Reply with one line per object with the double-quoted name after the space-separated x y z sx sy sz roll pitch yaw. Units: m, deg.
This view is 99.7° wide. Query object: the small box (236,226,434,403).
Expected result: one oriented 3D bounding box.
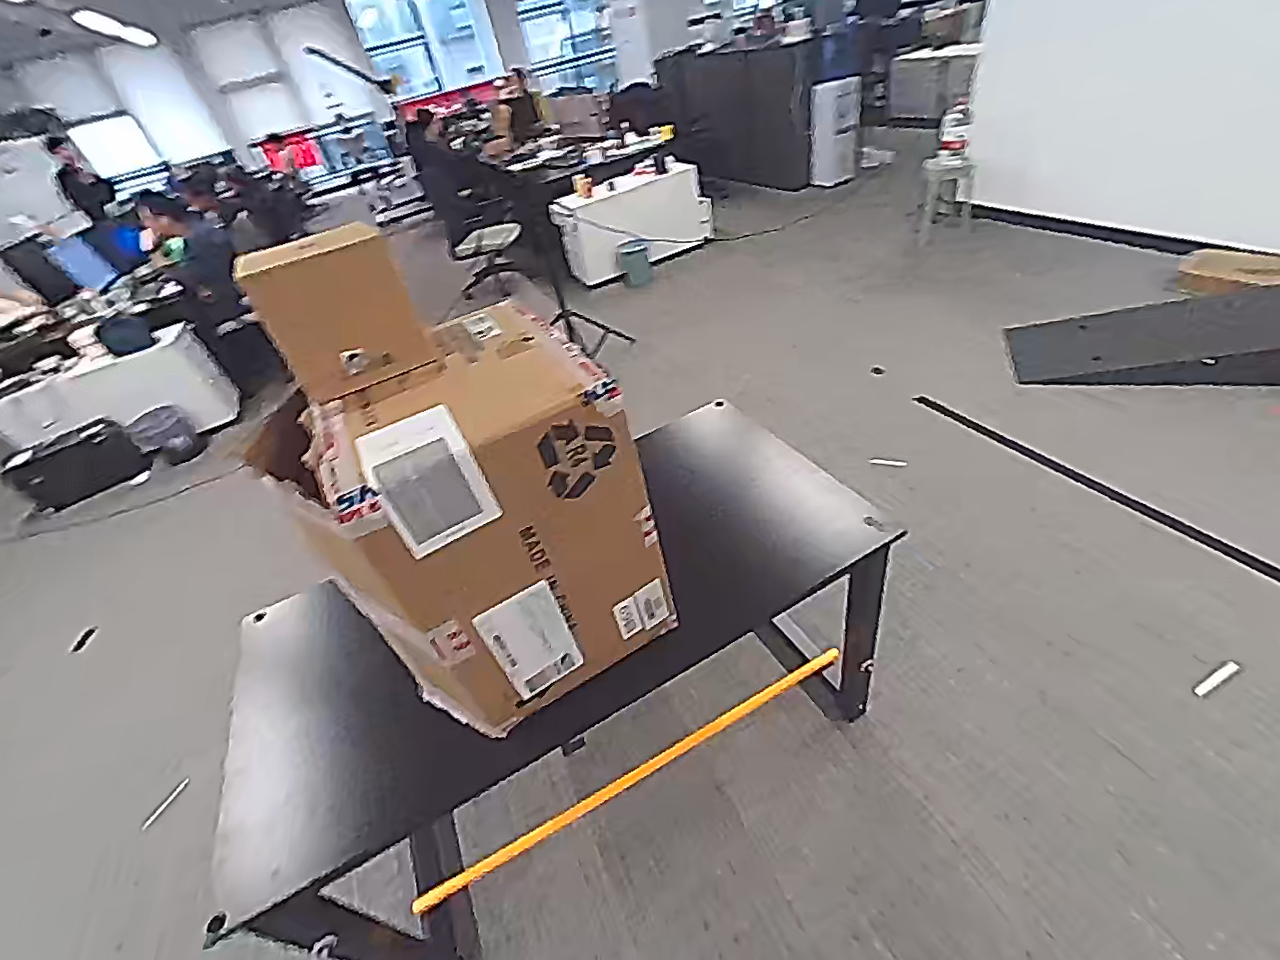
-0.407 -0.226 0.733 0.168 0.176 0.179 -30 40 -19 "small box"
